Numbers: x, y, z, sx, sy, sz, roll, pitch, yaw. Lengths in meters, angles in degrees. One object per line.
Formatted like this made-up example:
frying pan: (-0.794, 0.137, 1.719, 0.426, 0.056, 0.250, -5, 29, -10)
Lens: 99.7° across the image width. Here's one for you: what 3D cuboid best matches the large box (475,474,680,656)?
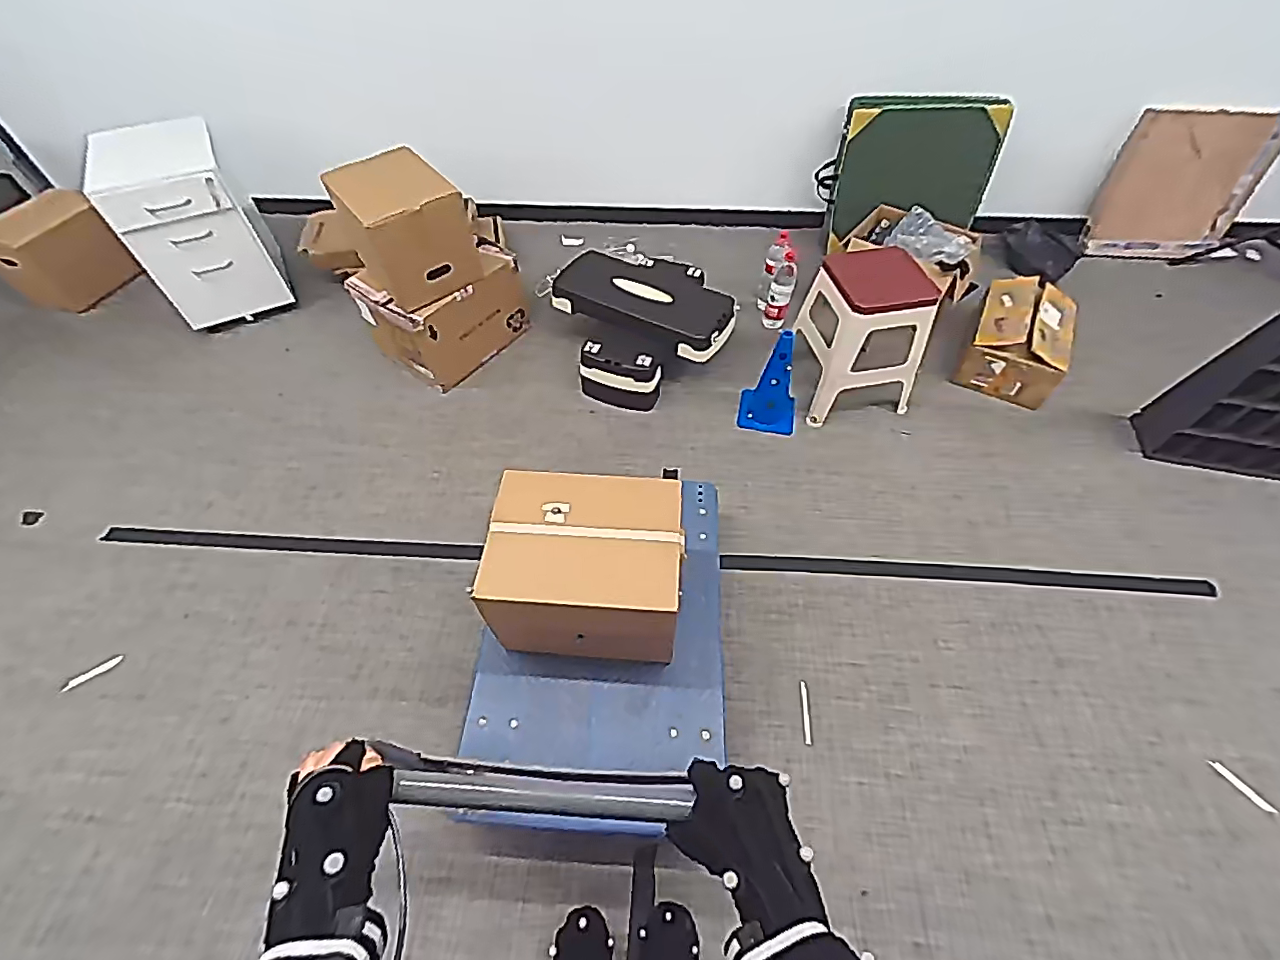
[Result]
large box: (-0.114, 0.204, 1.255, 0.408, 0.320, 0.320, 3, 54, 3)
